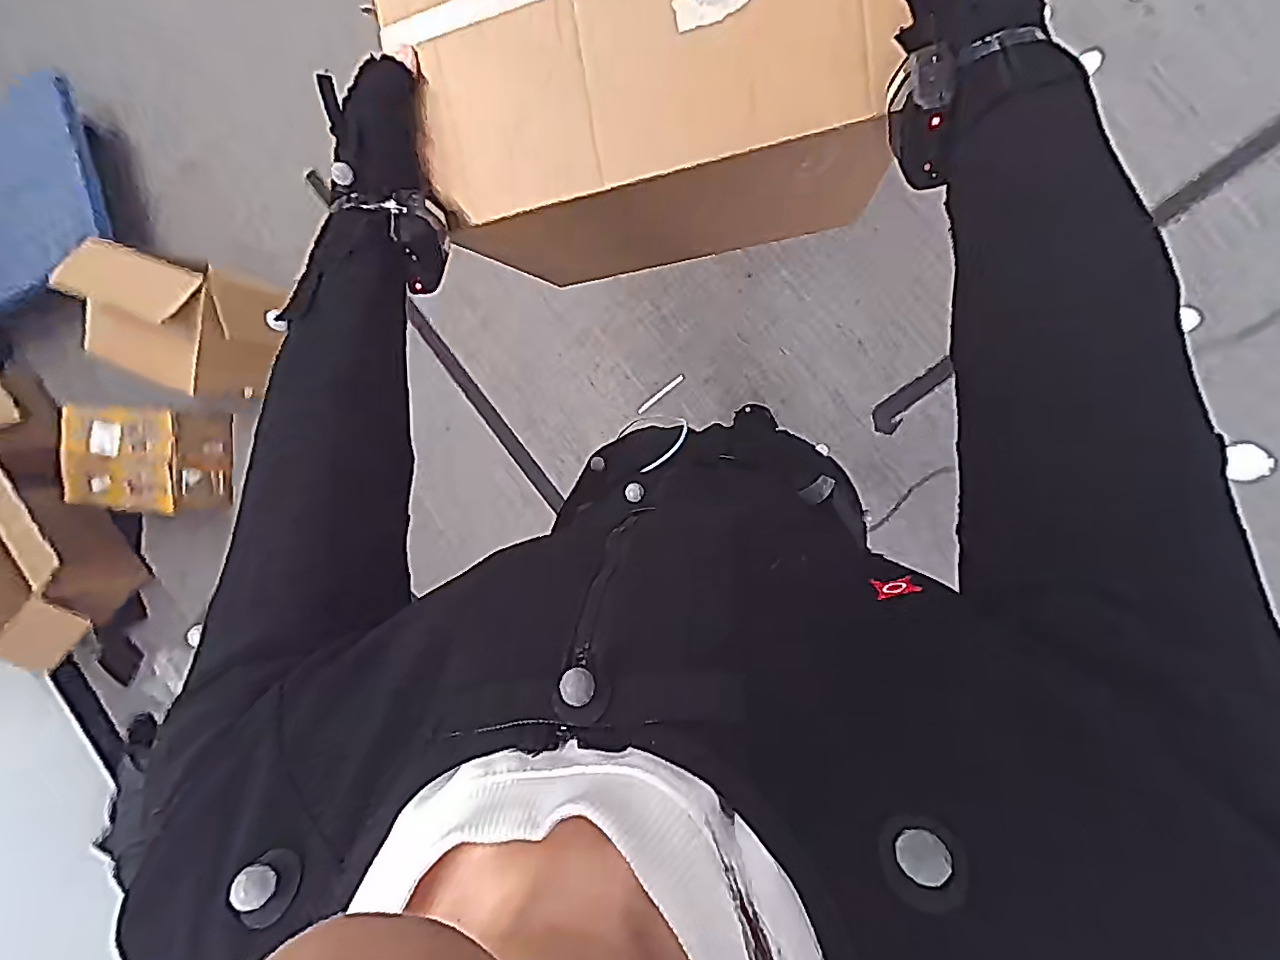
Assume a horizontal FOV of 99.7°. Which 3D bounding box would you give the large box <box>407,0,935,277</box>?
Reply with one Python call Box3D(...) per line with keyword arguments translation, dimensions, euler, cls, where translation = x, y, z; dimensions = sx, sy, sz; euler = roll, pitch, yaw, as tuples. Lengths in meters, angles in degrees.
Box3D(translation=(0.028, -0.429, 0.554), dimensions=(0.408, 0.320, 0.320), euler=(-6, 100, 14), cls="large box")
